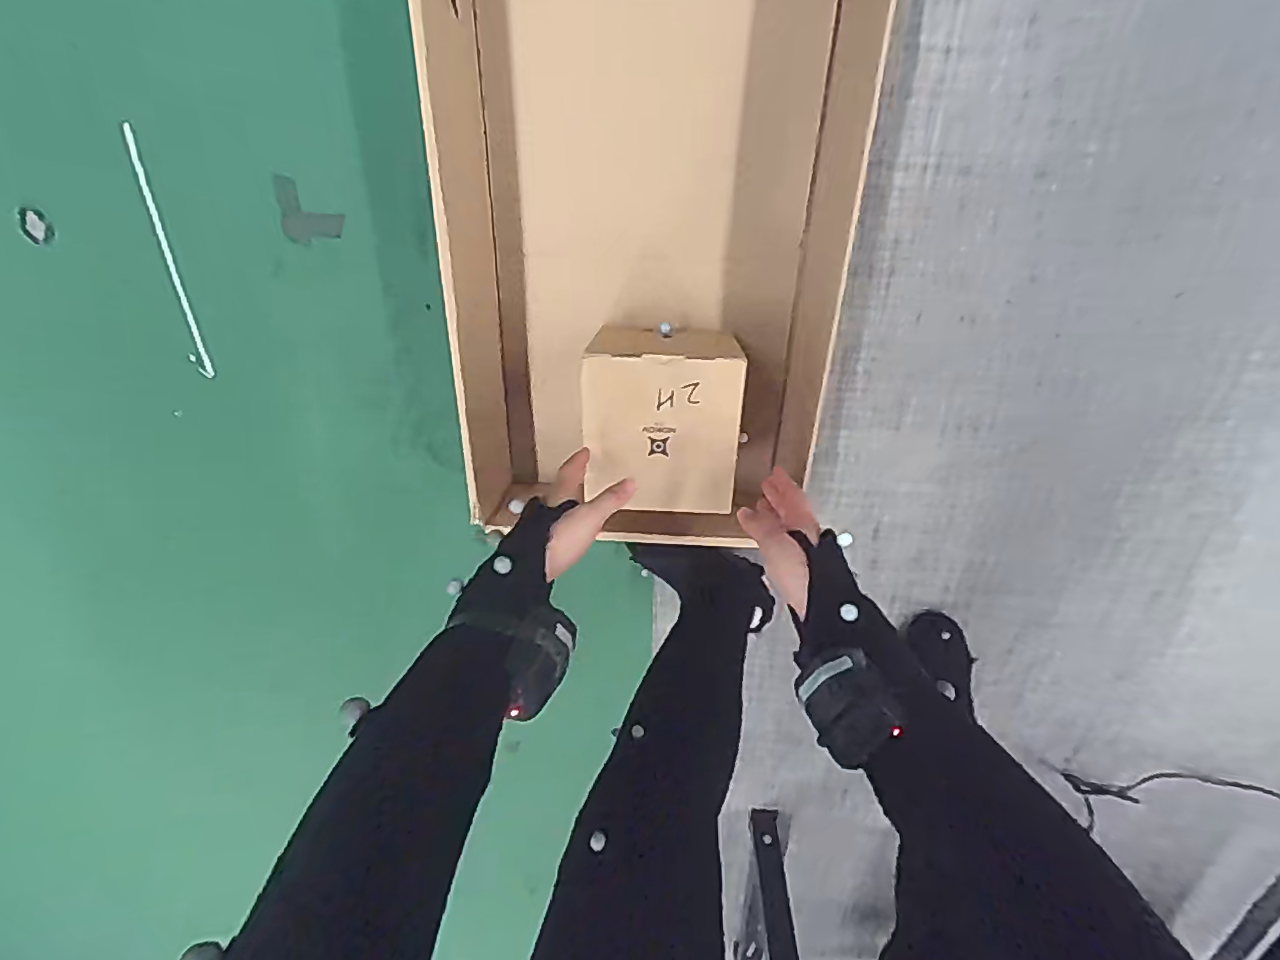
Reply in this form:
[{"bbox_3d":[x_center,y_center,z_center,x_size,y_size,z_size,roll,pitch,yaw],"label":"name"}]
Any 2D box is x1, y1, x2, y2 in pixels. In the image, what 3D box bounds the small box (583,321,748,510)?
[{"bbox_3d":[0.026,-0.082,0.636,0.168,0.176,0.179,2,114,1],"label":"small box"}]
